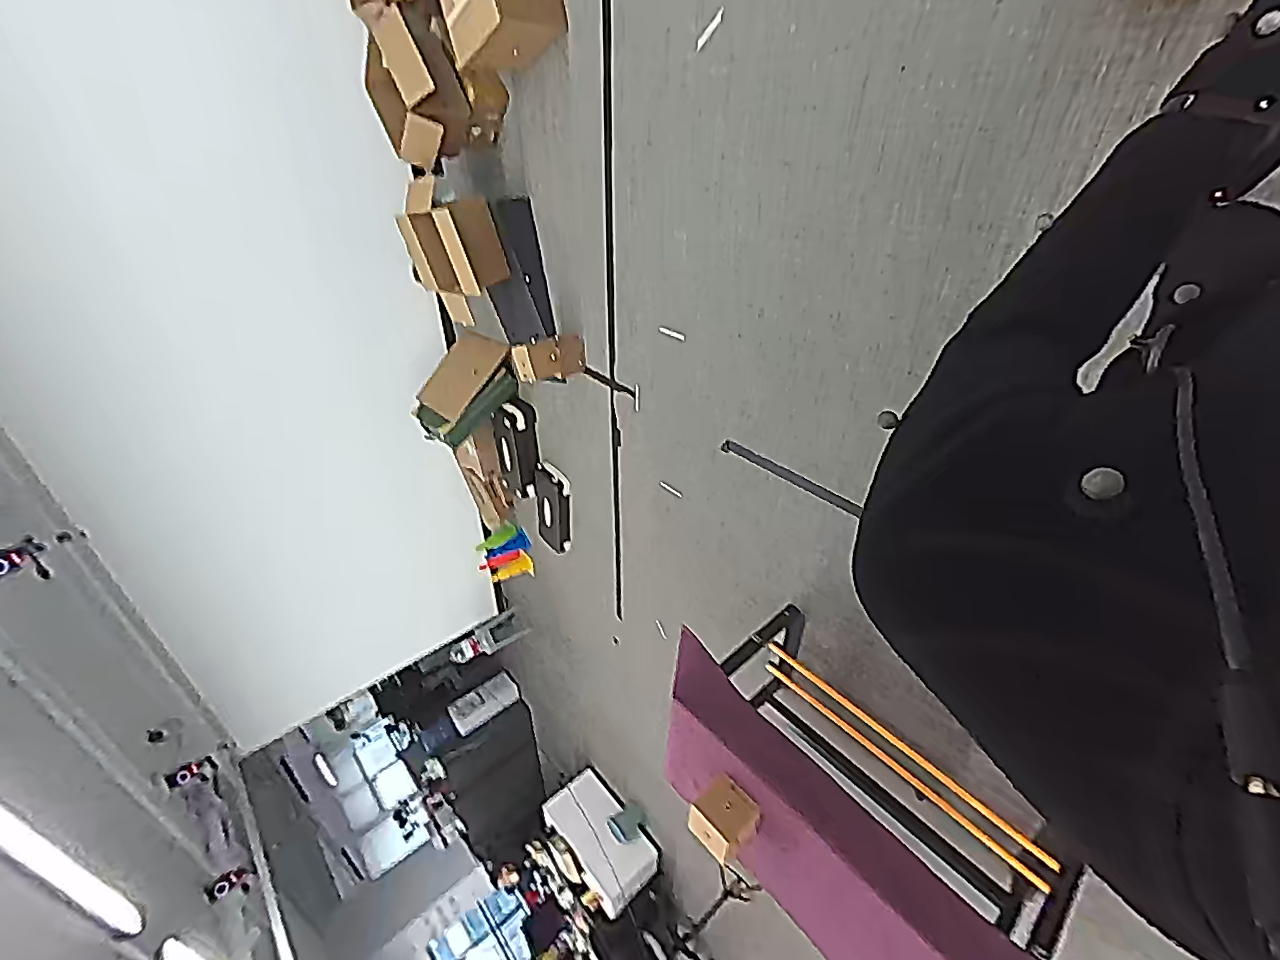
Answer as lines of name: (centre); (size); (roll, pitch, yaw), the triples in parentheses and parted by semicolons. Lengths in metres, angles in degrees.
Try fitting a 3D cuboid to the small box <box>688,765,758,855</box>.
small box: (0.289, 1.135, 1.871); (0.168, 0.176, 0.179); (34, 136, 37)
